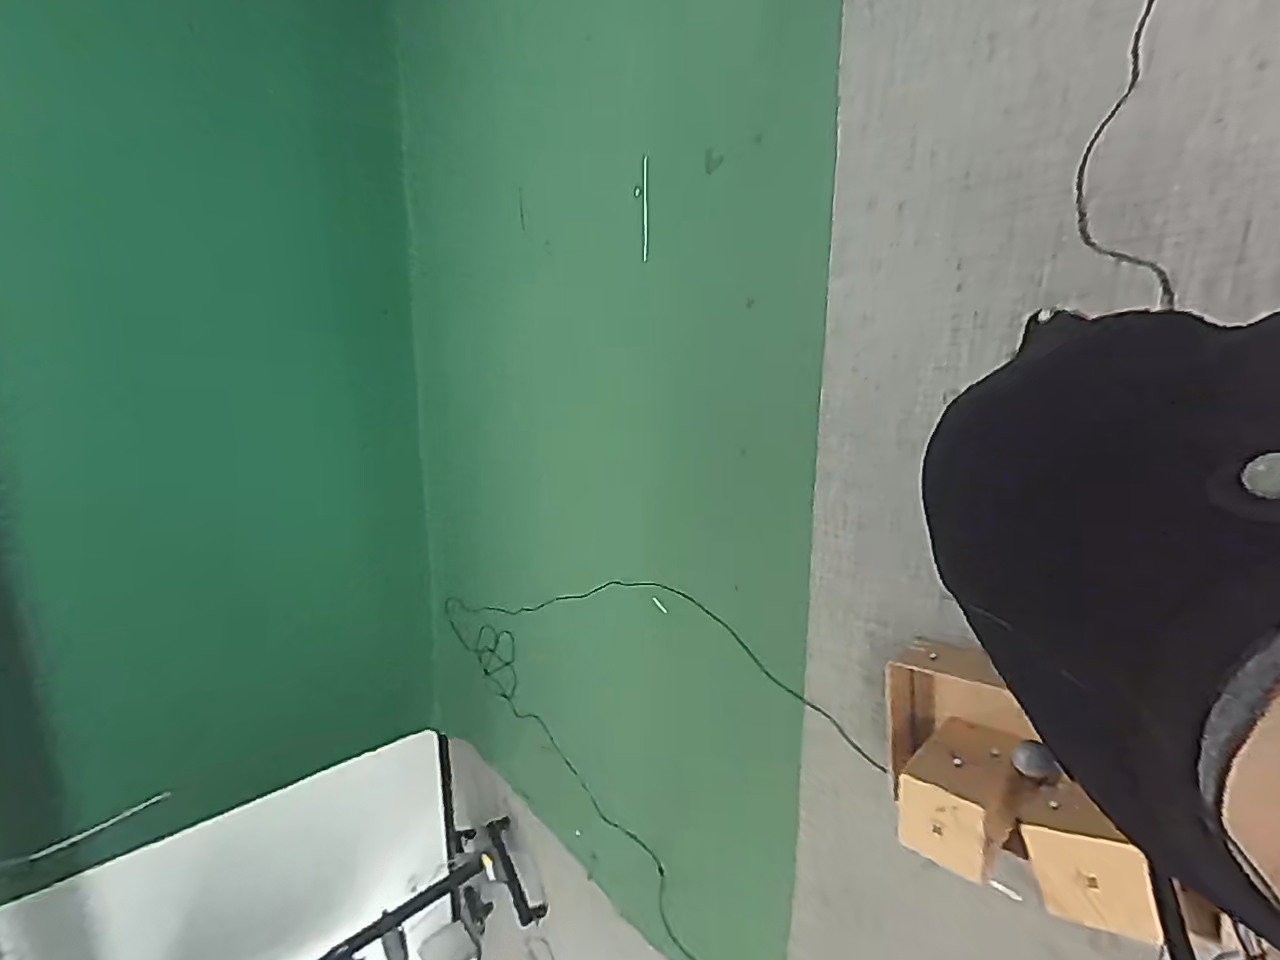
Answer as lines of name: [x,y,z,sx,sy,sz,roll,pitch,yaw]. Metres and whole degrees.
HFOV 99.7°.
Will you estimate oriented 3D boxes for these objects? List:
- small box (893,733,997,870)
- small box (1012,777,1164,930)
small box: [0.694,0.718,1.229,0.168,0.176,0.179,5,100,46]
small box: [0.864,0.702,1.045,0.179,0.176,0.168,-21,79,48]
